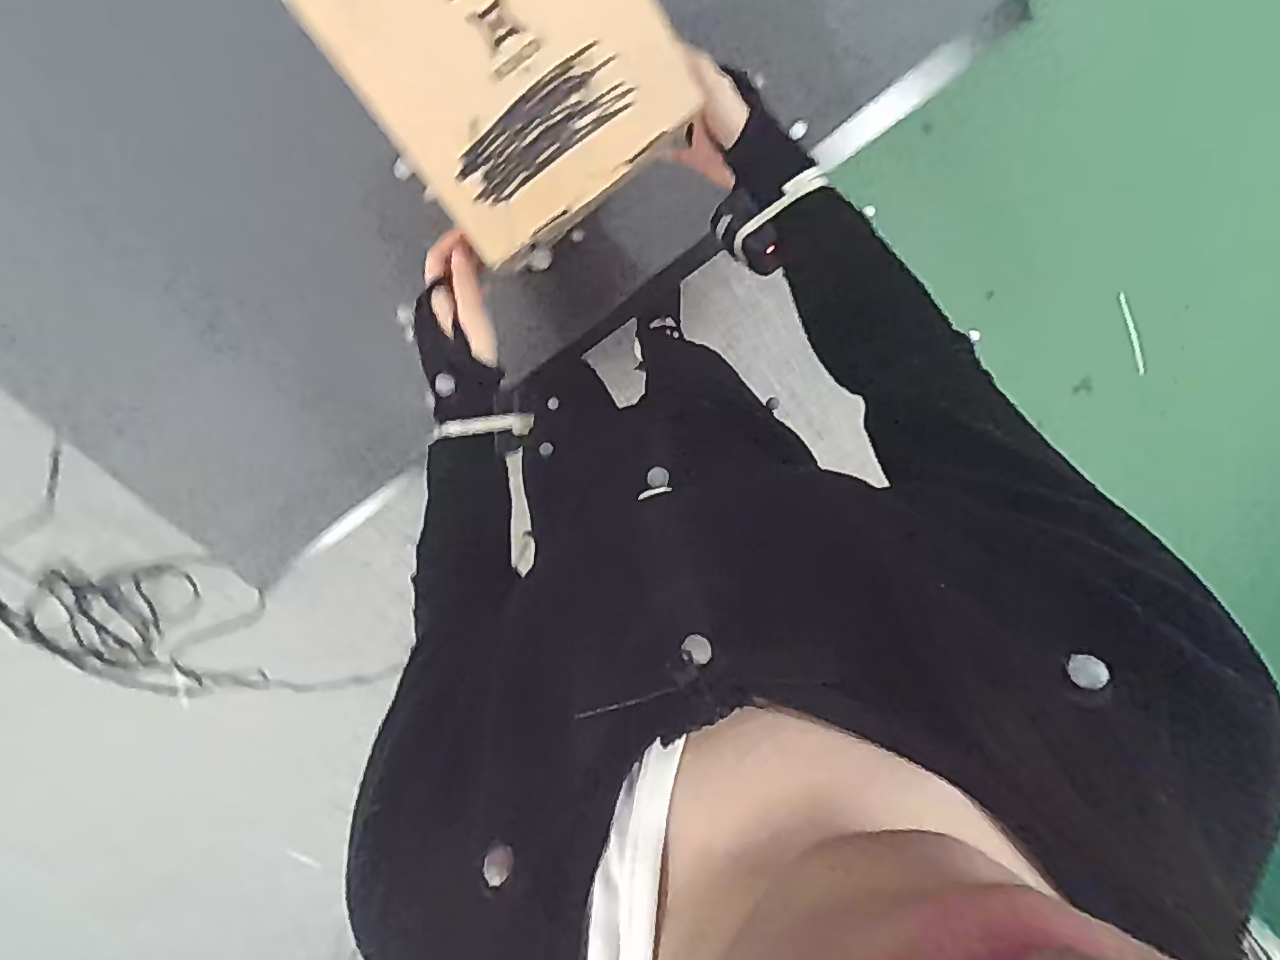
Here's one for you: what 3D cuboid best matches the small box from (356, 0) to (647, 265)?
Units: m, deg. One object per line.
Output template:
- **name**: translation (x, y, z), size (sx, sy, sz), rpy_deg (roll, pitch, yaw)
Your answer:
- **small box**: translation (-0.122, -0.326, 0.514), size (0.168, 0.176, 0.179), rpy_deg (-40, 112, 4)
